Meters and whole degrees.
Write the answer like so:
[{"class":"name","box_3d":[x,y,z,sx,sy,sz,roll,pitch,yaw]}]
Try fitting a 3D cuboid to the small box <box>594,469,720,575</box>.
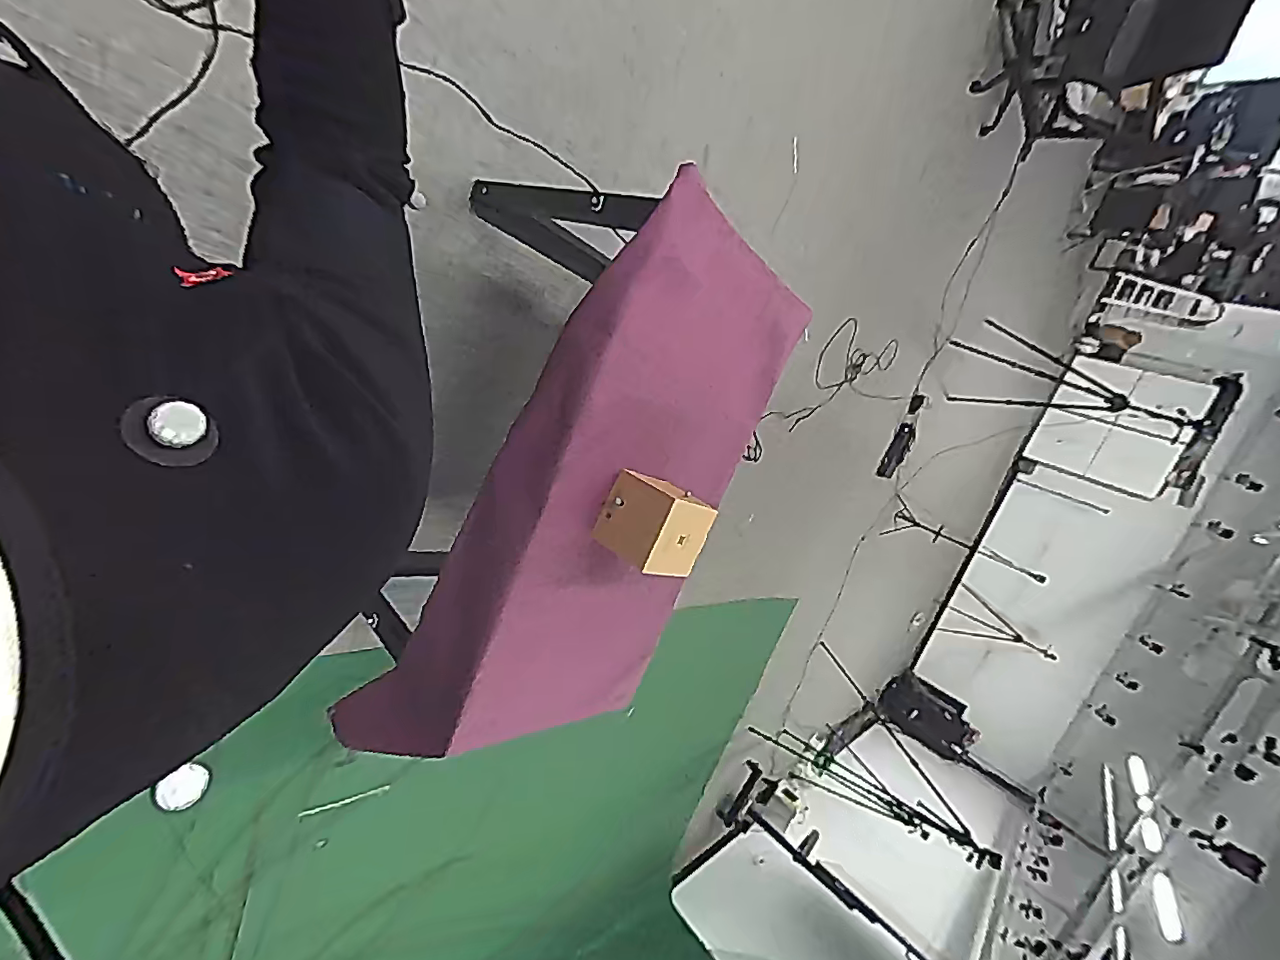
[{"class":"small box","box_3d":[0.036,0.090,1.173,0.179,0.176,0.168,18,98,-51]}]
